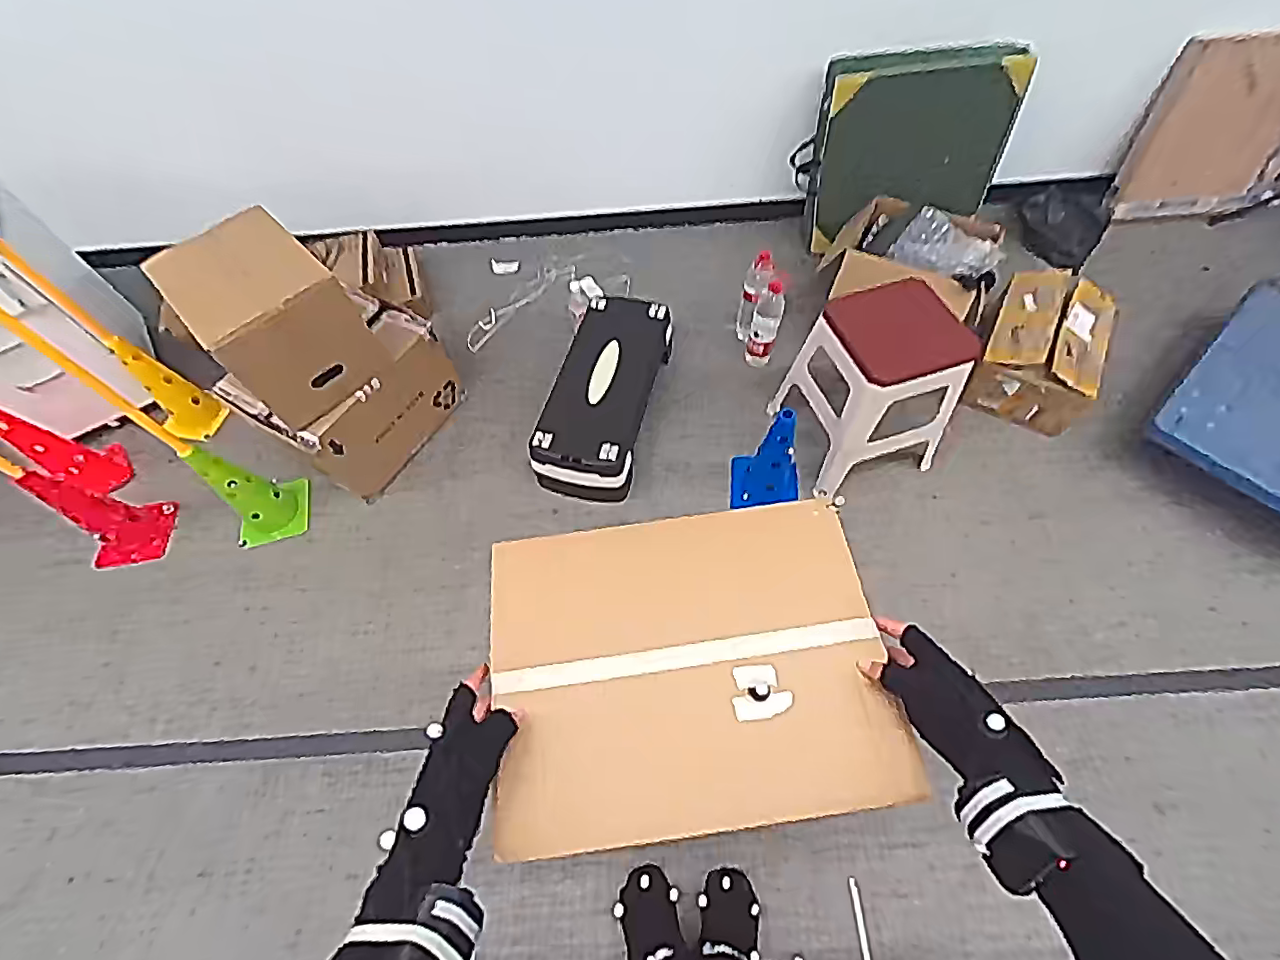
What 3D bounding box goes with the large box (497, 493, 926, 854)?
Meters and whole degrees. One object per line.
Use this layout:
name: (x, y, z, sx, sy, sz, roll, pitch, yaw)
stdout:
large box: (0.055, 0.248, 0.694, 0.408, 0.320, 0.320, -8, 61, -2)
